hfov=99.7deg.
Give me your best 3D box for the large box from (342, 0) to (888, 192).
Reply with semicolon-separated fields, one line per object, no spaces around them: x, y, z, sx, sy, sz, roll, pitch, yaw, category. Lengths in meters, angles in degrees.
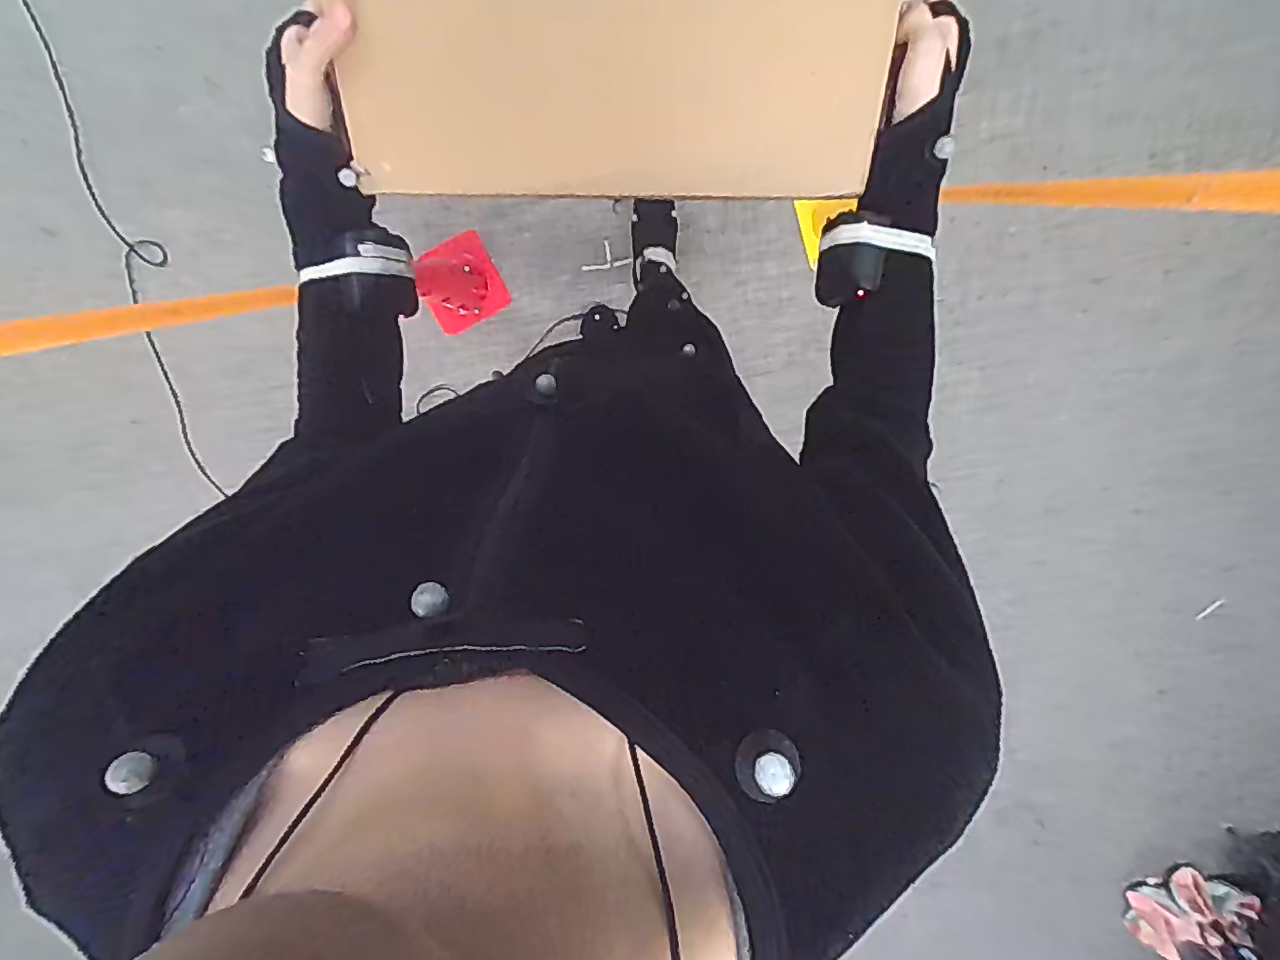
-0.017;-0.450;0.506;0.408;0.320;0.320;0;118;-1;large box
